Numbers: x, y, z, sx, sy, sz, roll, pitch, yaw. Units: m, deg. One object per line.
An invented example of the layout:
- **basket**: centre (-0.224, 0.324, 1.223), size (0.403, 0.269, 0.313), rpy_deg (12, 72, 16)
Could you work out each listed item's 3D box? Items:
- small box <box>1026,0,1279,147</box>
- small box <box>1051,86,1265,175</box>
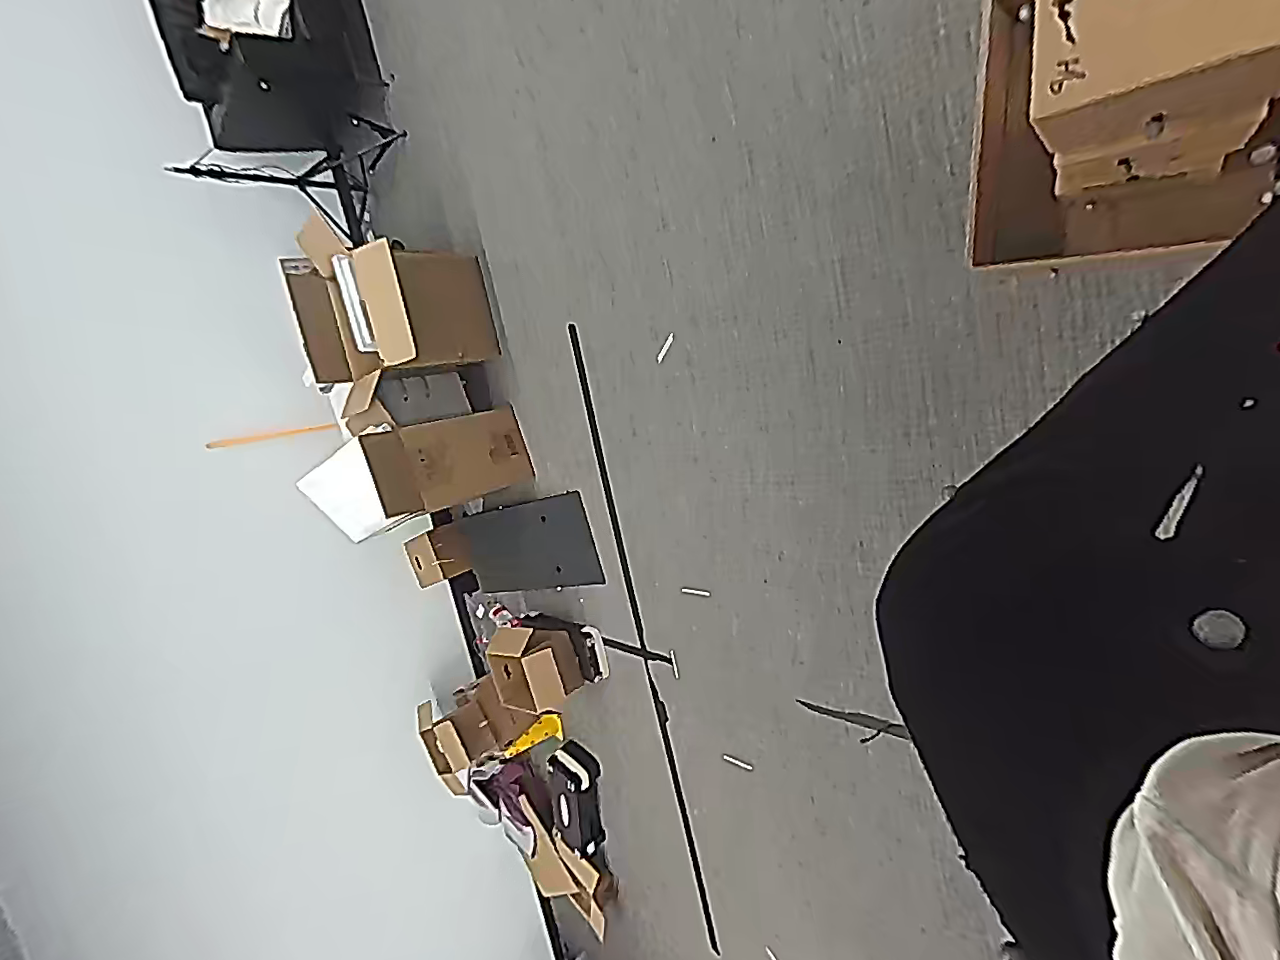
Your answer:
- **small box**: centre (0.470, -0.428, 0.486), size (0.179, 0.176, 0.168), rpy_deg (7, 108, 42)
- **small box**: centre (0.581, -0.458, 0.604), size (0.168, 0.176, 0.179), rpy_deg (8, 109, 42)
